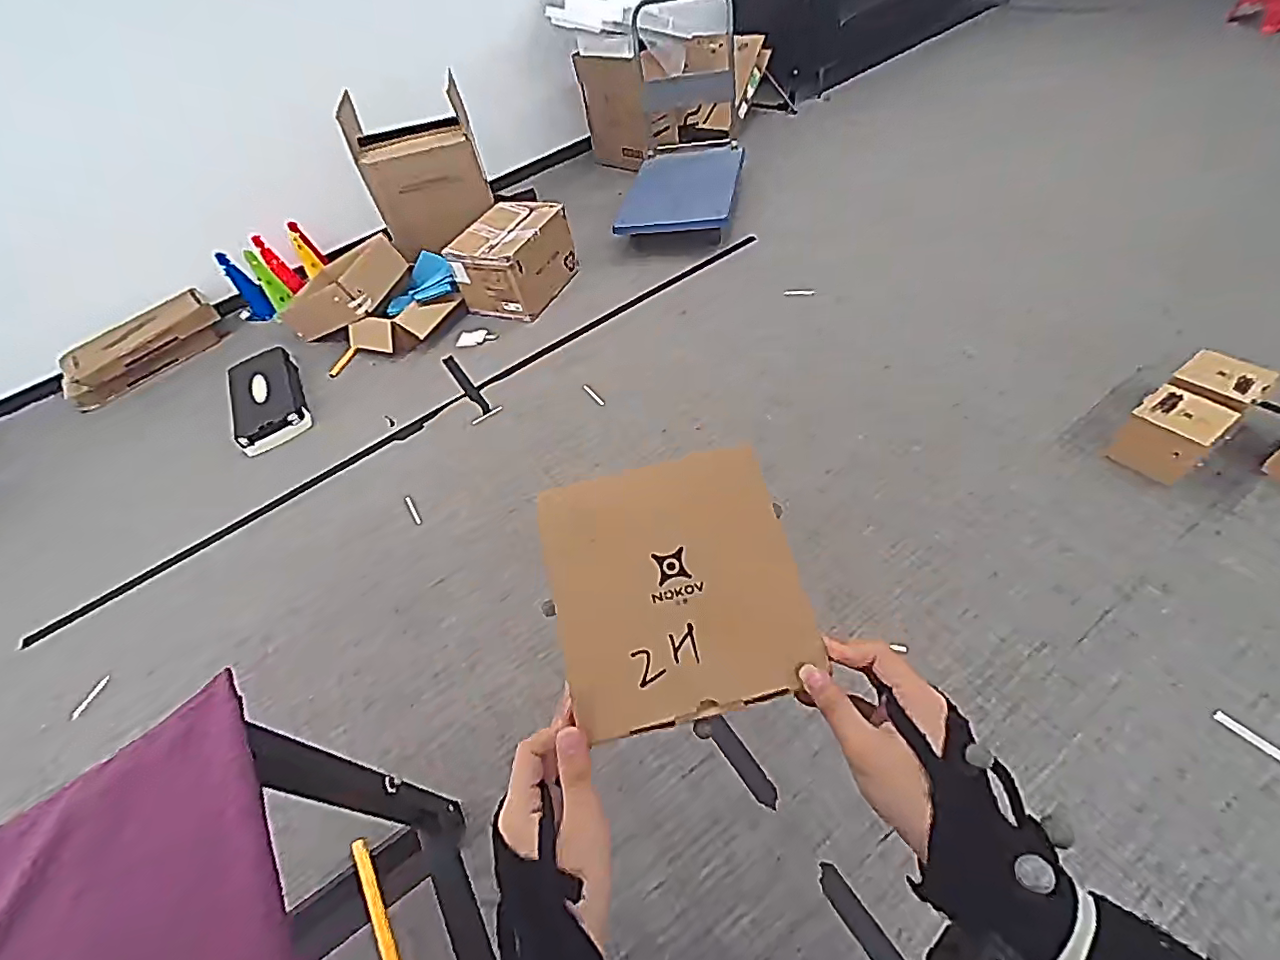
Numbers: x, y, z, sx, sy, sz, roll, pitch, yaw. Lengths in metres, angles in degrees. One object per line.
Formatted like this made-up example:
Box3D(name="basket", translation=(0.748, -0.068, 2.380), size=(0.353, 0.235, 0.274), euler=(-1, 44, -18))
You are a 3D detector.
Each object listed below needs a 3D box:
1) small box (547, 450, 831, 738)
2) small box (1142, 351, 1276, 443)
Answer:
Box3D(name="small box", translation=(0.030, 0.103, 0.449), size=(0.168, 0.176, 0.179), euler=(-14, 65, -2))
Box3D(name="small box", translation=(1.606, -0.229, 1.539), size=(0.168, 0.176, 0.179), euler=(-33, 50, -14))
